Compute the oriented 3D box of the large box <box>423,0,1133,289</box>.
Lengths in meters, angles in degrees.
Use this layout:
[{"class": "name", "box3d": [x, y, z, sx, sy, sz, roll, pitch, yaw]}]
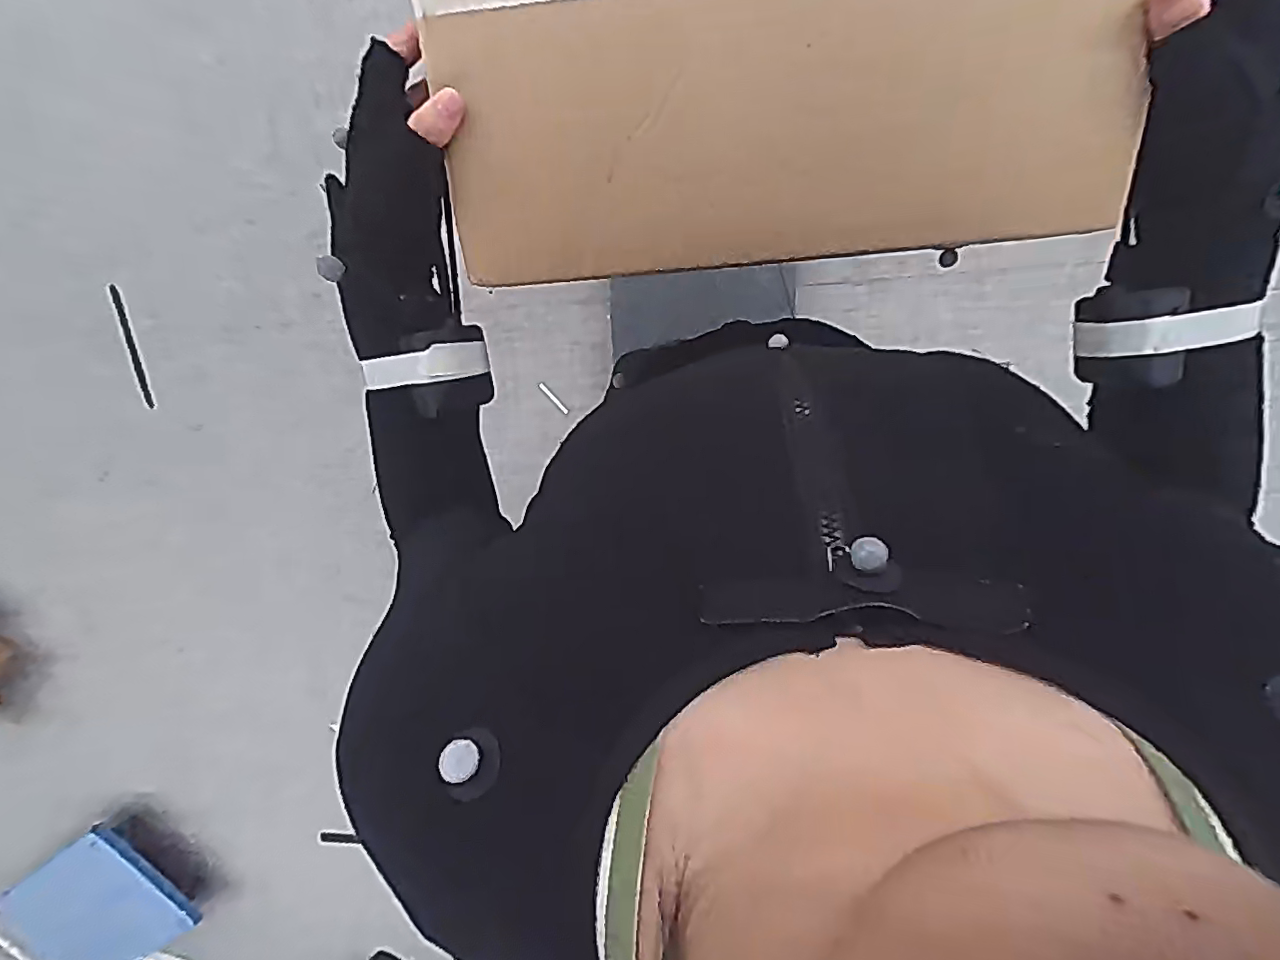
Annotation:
[{"class": "large box", "box3d": [0.080, -0.347, 0.433, 0.408, 0.320, 0.320, -3, 113, 5]}]
